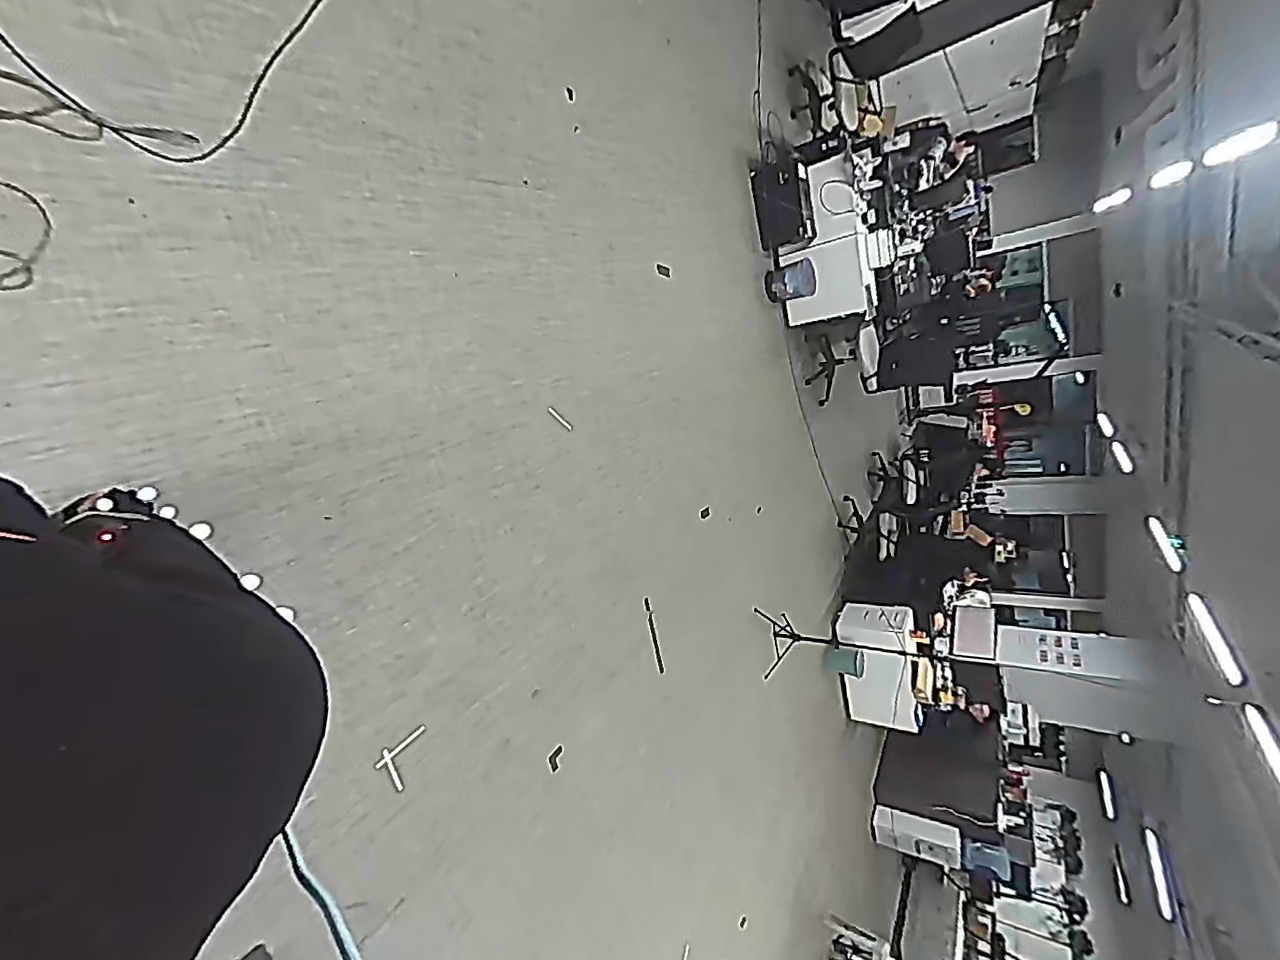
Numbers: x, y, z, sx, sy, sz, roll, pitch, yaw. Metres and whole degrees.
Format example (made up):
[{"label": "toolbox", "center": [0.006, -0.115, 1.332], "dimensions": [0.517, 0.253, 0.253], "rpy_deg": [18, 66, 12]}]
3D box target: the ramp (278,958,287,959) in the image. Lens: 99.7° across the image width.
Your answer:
[{"label": "ramp", "center": [-0.750, 1.613, 1.106], "dimensions": [0.509, 0.206, 0.991], "rpy_deg": [-34, 113, -49]}]
